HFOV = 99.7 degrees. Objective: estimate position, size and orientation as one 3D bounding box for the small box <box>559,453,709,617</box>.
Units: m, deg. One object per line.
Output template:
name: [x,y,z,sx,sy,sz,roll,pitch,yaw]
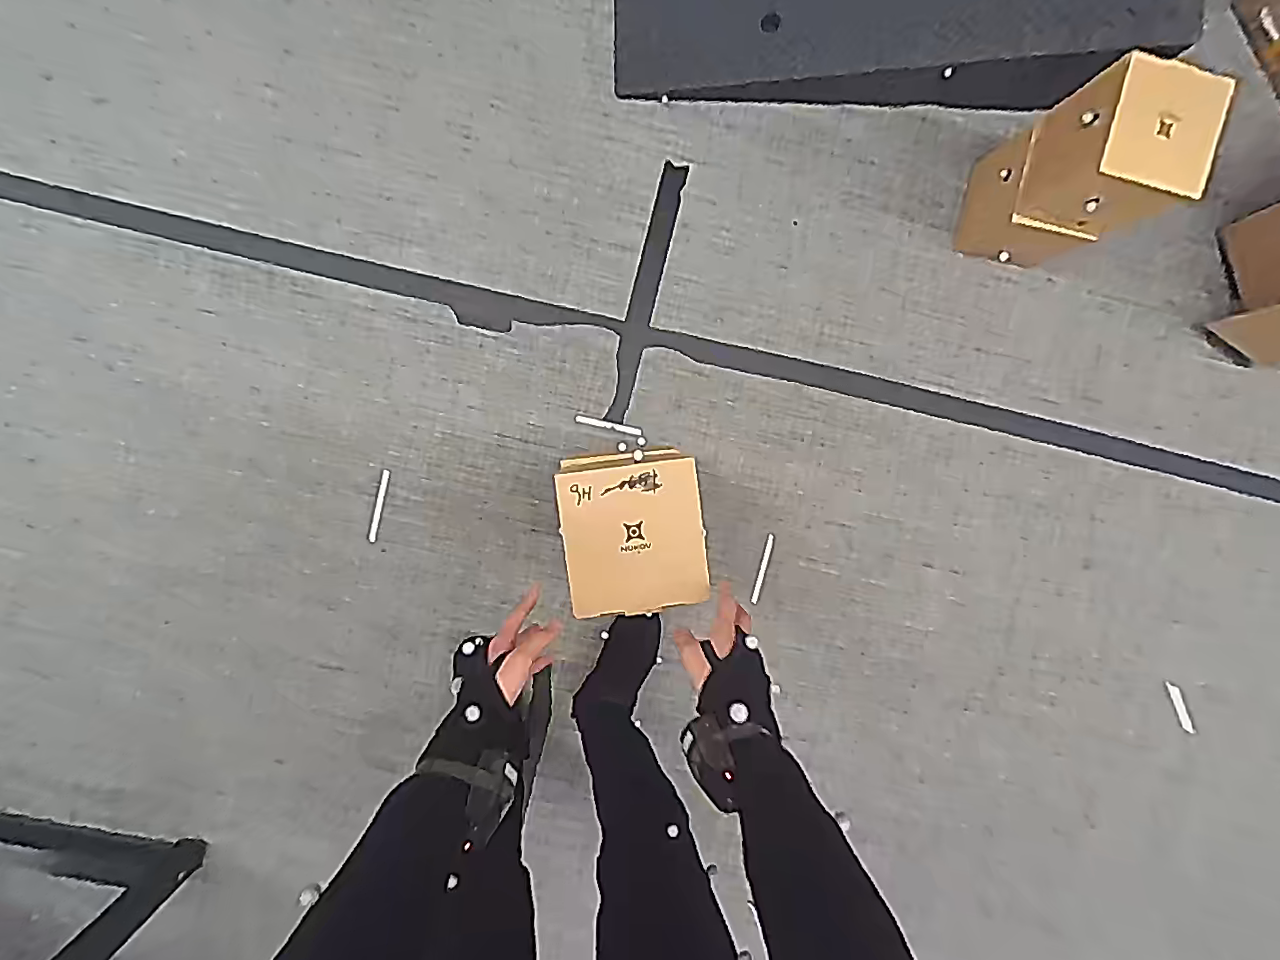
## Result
small box: [-0.009,0.062,0.718,0.168,0.176,0.179,-7,95,-3]
